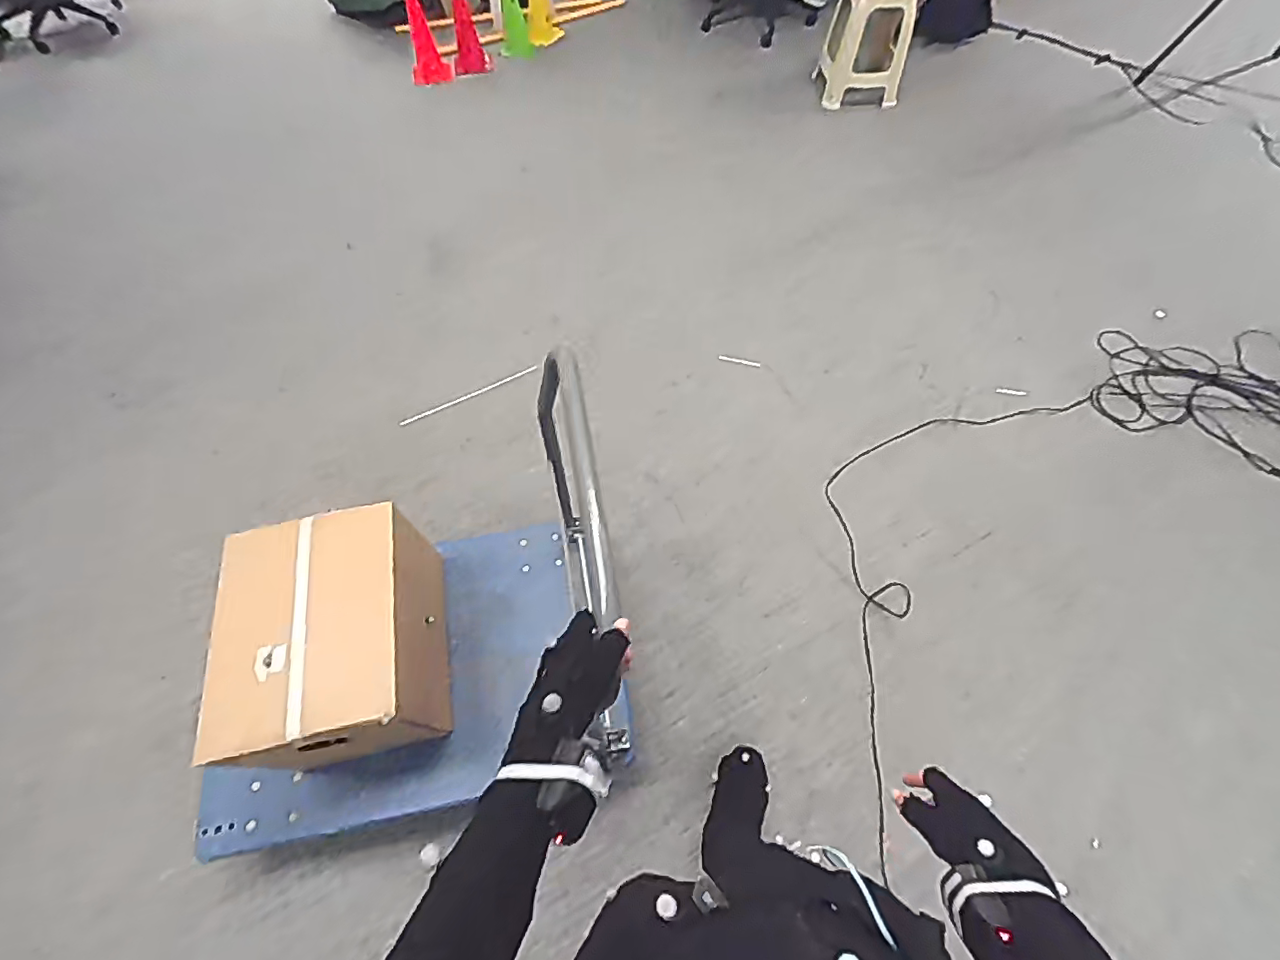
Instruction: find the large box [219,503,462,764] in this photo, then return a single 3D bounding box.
[{"bbox_3d":[-0.570,0.314,1.093,0.320,0.320,0.408,-13,62,-6],"label":"large box"}]
